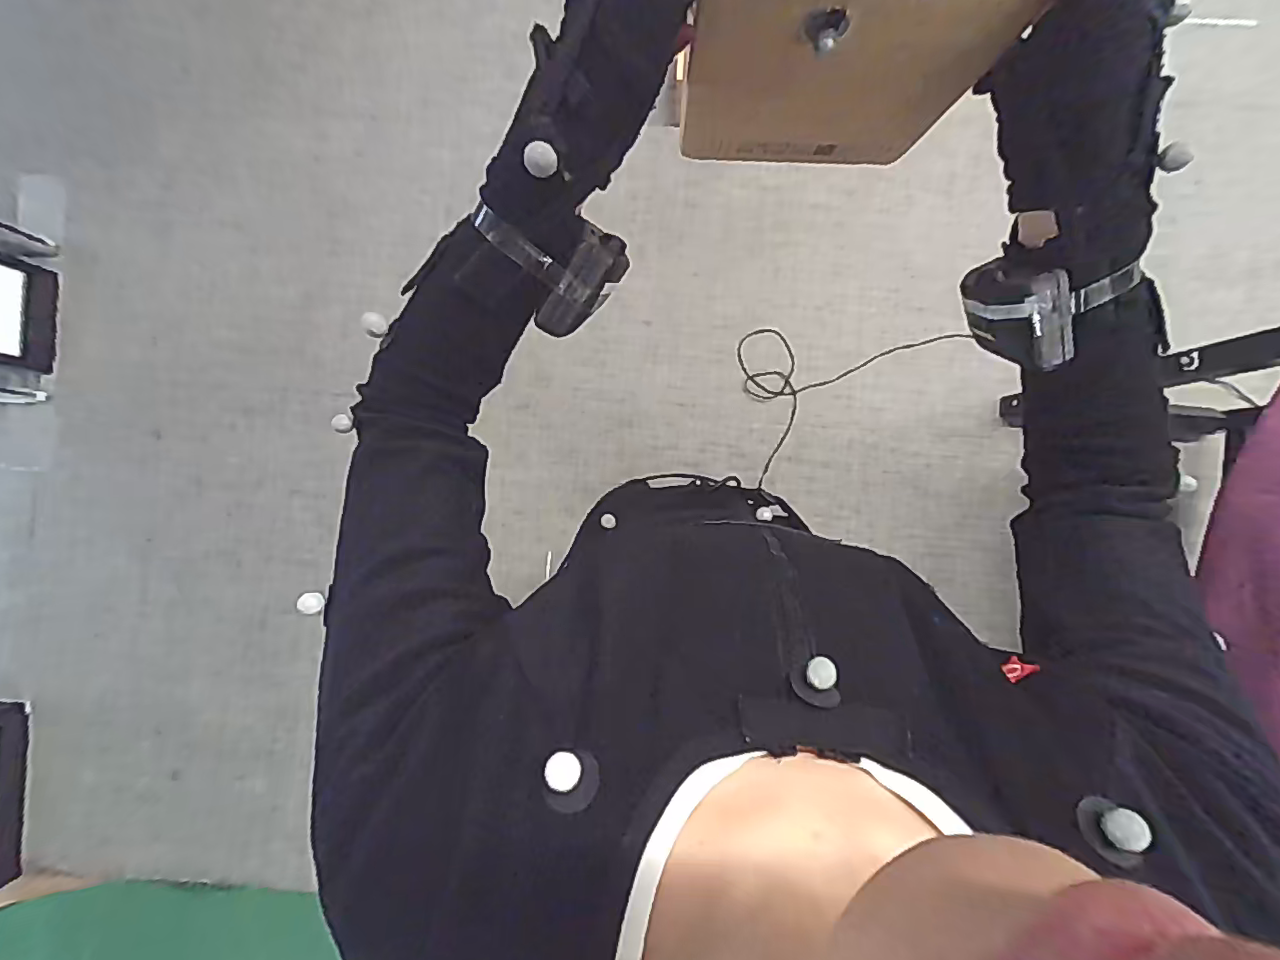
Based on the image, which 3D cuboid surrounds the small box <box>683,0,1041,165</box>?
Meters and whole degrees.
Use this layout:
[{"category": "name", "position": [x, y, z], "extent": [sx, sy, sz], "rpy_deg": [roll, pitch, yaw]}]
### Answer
[{"category": "small box", "position": [0.115, -0.322, 0.321], "extent": [0.168, 0.176, 0.179], "rpy_deg": [3, 96, 1]}]

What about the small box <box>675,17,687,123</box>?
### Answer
[{"category": "small box", "position": [0.187, -1.066, 1.425], "extent": [0.179, 0.176, 0.168], "rpy_deg": [4, 89, 1]}]
